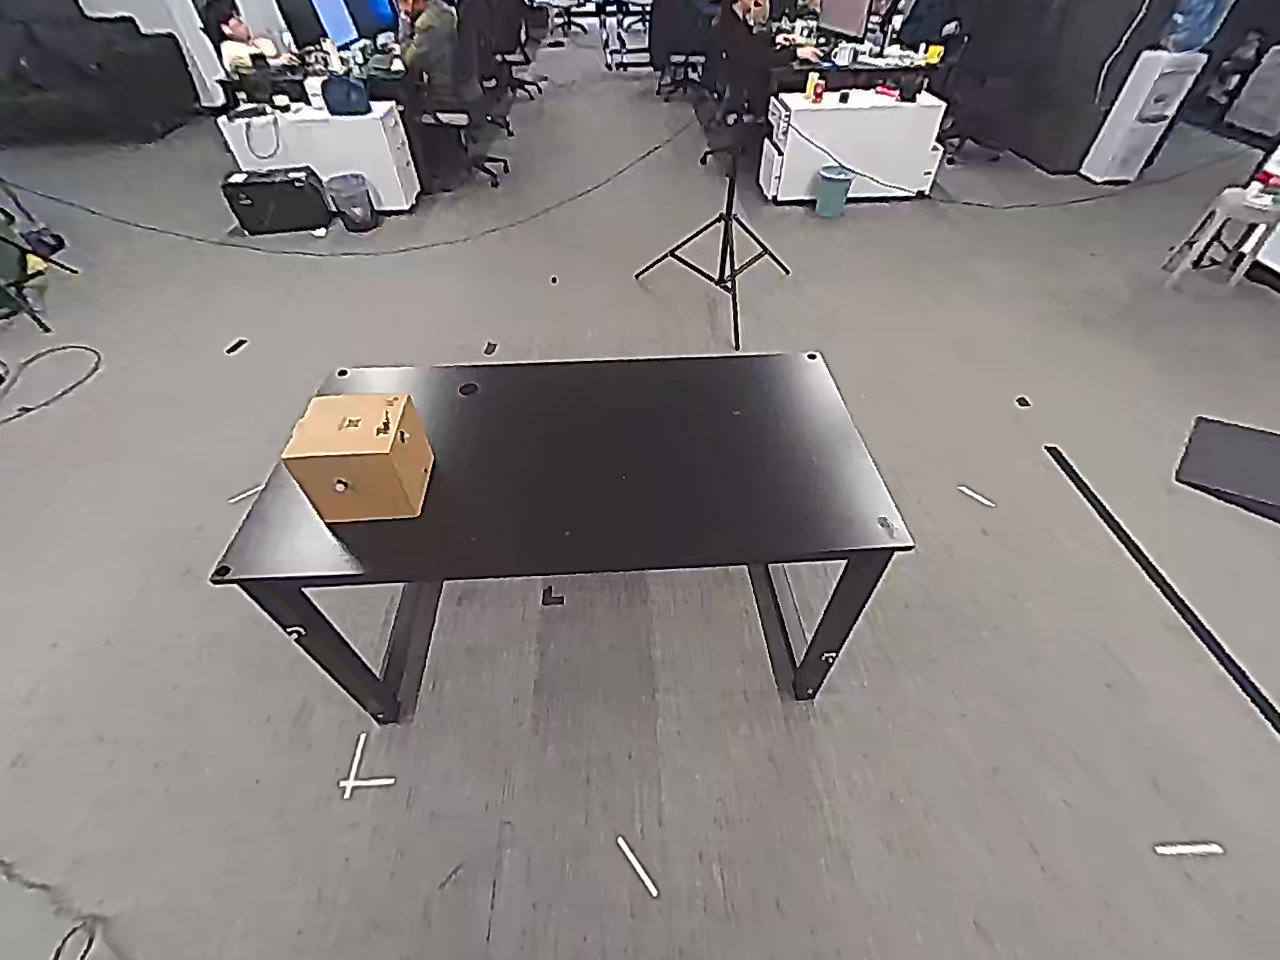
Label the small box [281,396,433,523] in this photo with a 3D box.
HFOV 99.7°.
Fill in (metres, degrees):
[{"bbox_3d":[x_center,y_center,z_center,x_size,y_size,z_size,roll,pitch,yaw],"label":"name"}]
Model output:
[{"bbox_3d":[-0.504,-0.034,0.994,0.179,0.176,0.168,-4,47,-3],"label":"small box"}]
